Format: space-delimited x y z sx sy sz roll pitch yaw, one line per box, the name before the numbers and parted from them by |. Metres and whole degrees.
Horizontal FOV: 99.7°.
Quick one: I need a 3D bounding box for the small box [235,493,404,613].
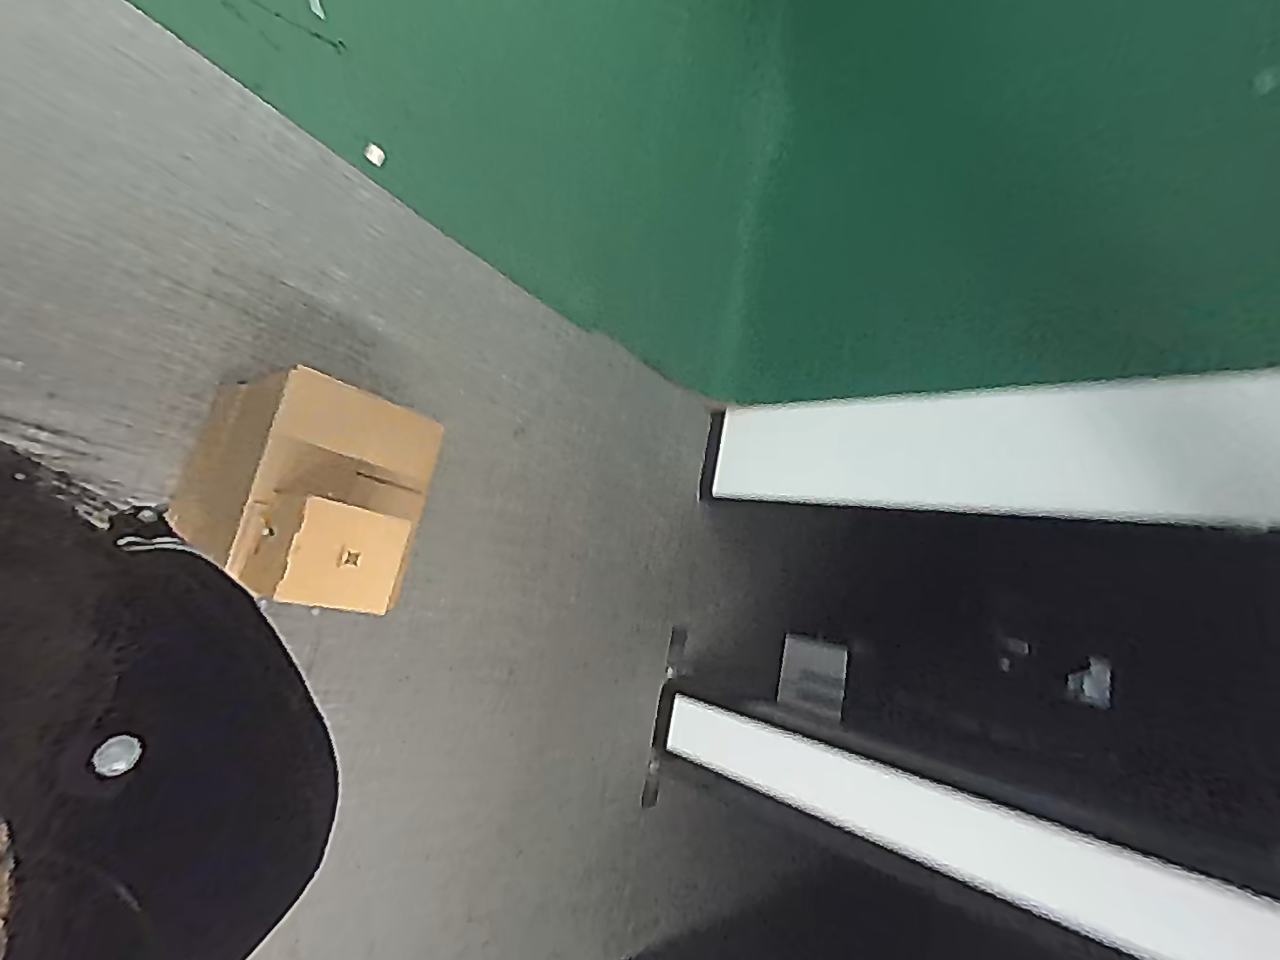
small box | -0.552 0.122 0.934 0.179 0.176 0.168 27 70 -48
